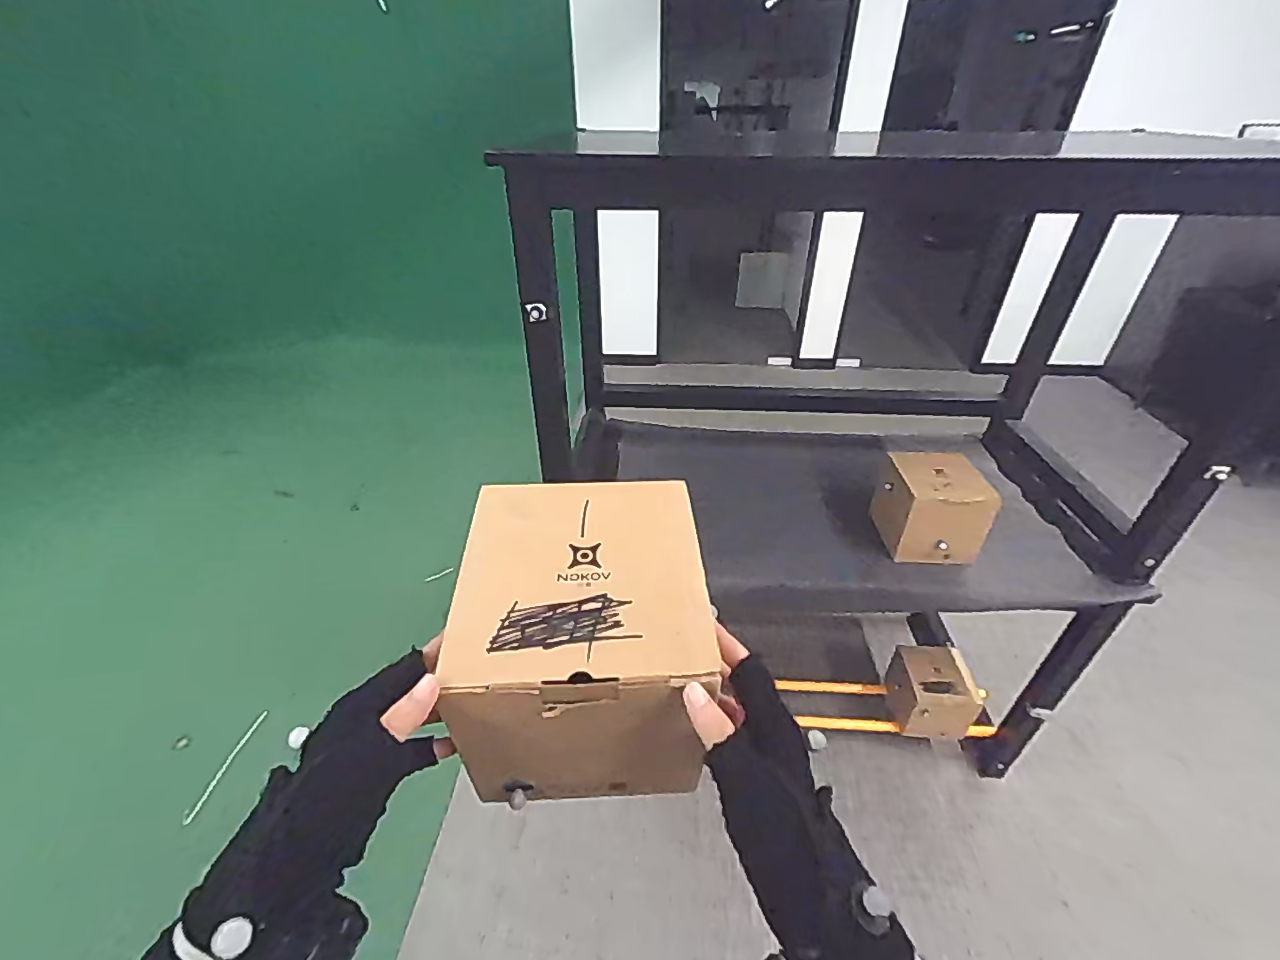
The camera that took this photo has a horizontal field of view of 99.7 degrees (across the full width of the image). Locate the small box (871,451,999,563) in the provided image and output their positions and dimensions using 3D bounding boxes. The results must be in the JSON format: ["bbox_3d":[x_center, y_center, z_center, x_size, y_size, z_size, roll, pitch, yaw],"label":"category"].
[{"bbox_3d":[0.613,0.054,1.152,0.168,0.176,0.179,1,34,3],"label":"small box"}]

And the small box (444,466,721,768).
[{"bbox_3d":[-0.037,0.108,0.426,0.168,0.176,0.179,-1,39,-3],"label":"small box"}]
